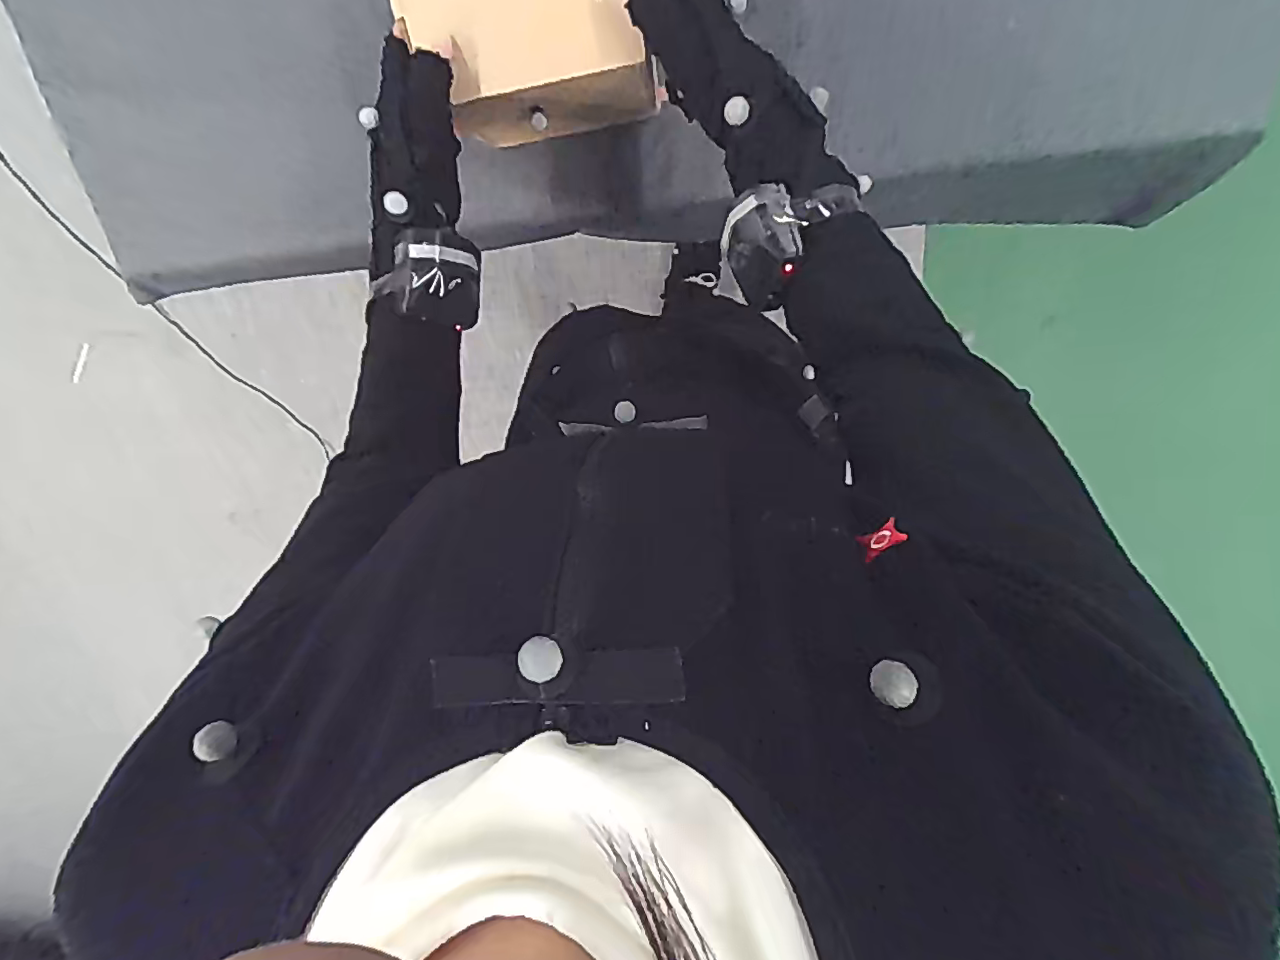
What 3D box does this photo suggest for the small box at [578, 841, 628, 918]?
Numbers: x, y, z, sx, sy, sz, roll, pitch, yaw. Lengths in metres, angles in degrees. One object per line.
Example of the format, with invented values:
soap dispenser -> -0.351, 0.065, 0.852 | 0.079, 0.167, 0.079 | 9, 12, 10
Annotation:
small box -> -0.136, 1.493, 2.028 | 0.168, 0.176, 0.179 | 4, 114, 5

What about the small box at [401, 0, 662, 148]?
small box -> -0.085, -0.403, 0.452 | 0.179, 0.176, 0.168 | -9, 109, 9
